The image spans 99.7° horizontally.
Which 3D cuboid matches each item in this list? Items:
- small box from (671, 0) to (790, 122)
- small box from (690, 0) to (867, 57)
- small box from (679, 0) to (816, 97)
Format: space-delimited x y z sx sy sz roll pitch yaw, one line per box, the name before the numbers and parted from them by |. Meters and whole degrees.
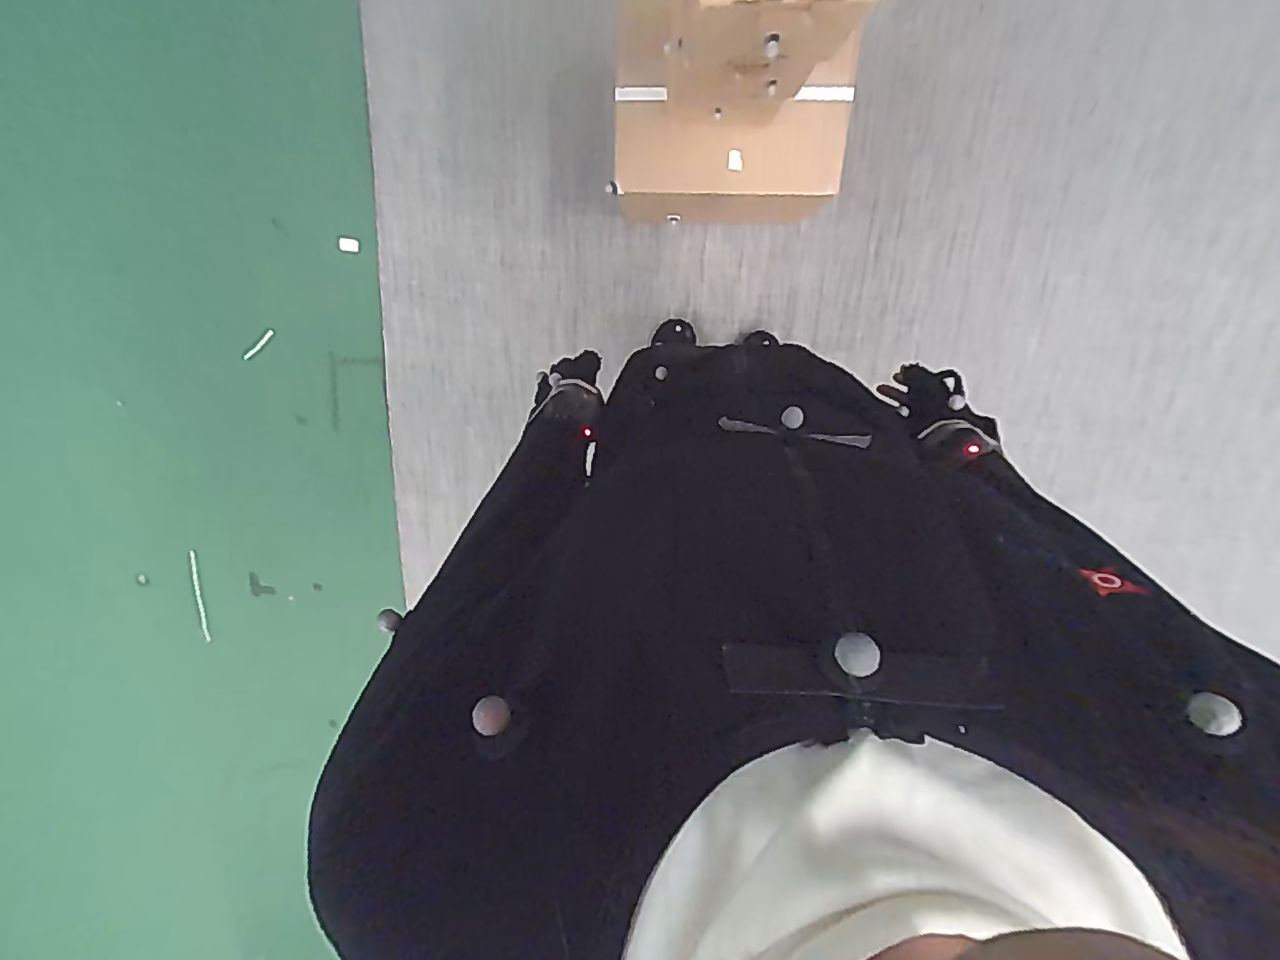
small box | 0.141 -0.670 0.839 0.179 0.176 0.168 3 114 4
small box | 0.135 -0.547 0.537 0.168 0.176 0.179 1 114 4
small box | 0.135 -0.610 0.688 0.168 0.176 0.179 1 112 4
